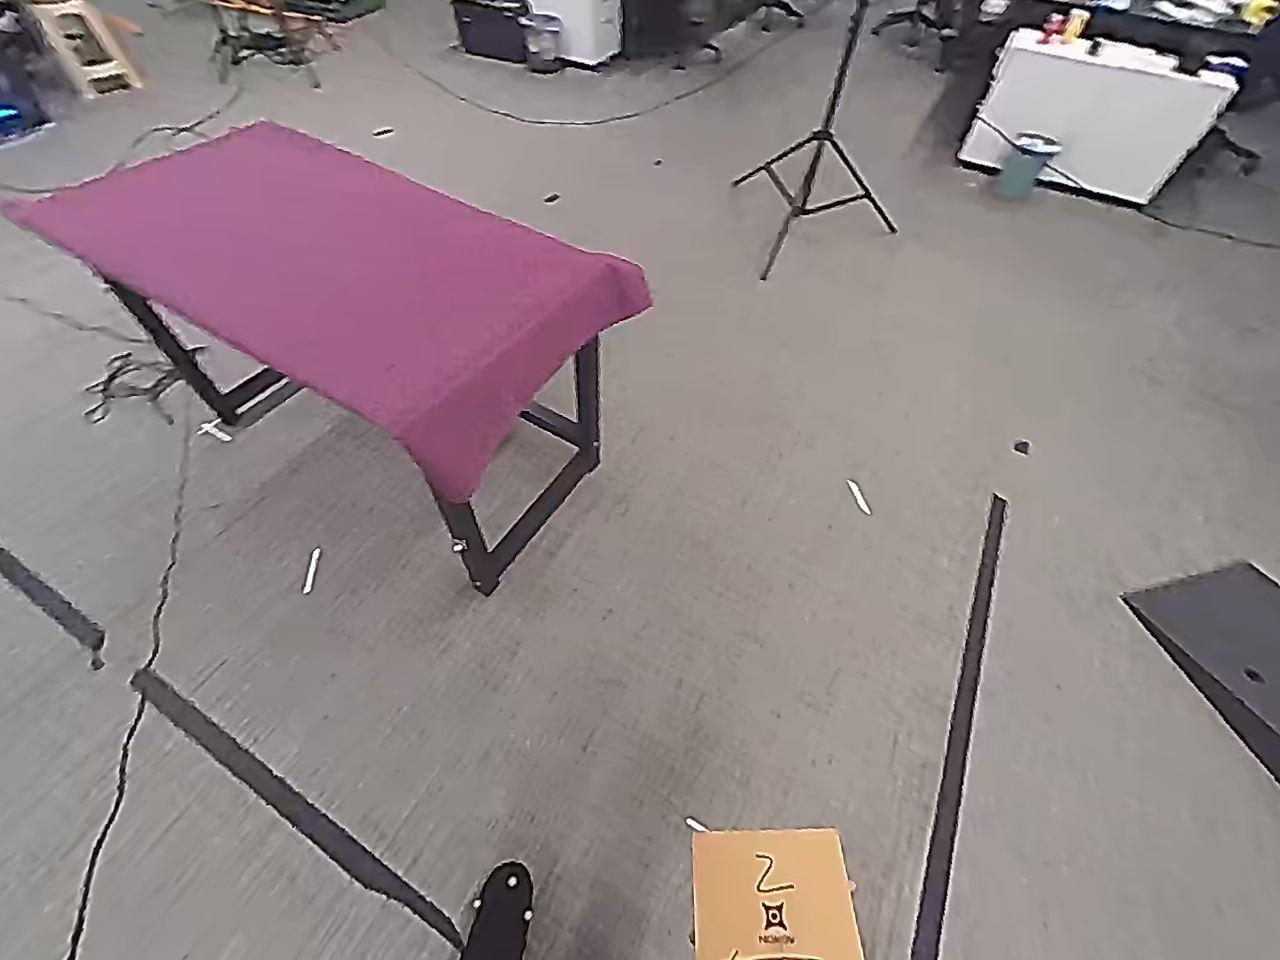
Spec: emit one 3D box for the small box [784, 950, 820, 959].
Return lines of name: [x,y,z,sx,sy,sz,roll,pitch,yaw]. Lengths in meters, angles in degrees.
small box: [0.332,0.979,0.953,0.168,0.176,0.179,24,55,13]
